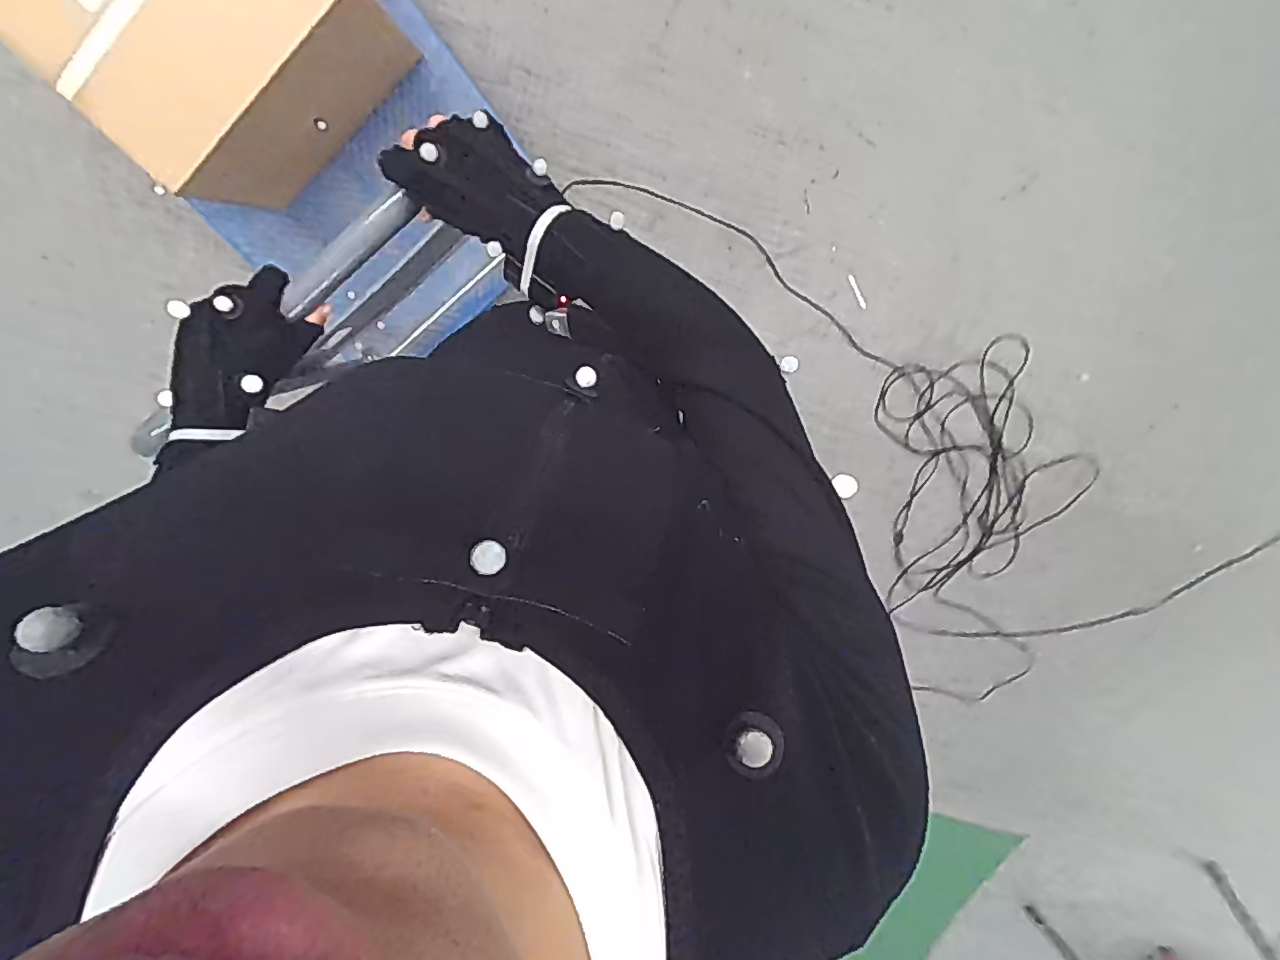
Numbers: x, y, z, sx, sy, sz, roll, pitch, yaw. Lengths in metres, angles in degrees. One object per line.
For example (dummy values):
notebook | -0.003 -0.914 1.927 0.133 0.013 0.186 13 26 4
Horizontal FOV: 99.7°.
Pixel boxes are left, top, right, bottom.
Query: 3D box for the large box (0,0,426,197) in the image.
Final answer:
large box | -0.616 -0.715 0.833 0.408 0.320 0.320 -38 110 12
